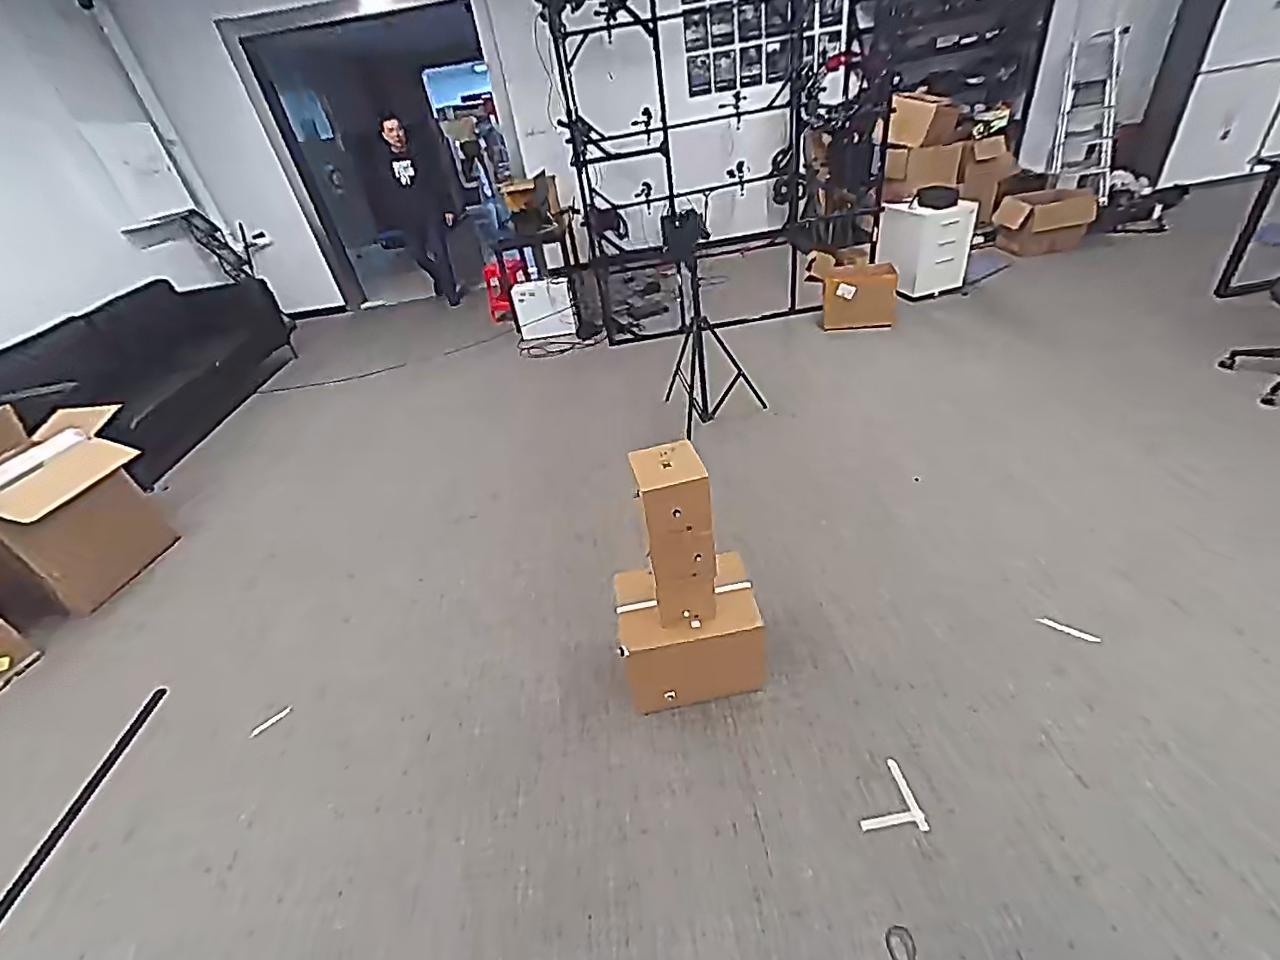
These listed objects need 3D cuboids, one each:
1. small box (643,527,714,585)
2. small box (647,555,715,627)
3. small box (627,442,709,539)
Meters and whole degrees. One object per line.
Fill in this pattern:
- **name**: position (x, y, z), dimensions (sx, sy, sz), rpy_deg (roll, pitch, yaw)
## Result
- **small box**: position (0.099, 0.167, 1.459), dimensions (0.168, 0.176, 0.179), rpy_deg (-10, 35, -3)
- **small box**: position (0.115, 0.294, 1.558), dimensions (0.168, 0.176, 0.179), rpy_deg (-11, 36, -1)
- **small box**: position (0.073, 0.033, 1.366), dimensions (0.168, 0.176, 0.179), rpy_deg (-12, 36, -7)
